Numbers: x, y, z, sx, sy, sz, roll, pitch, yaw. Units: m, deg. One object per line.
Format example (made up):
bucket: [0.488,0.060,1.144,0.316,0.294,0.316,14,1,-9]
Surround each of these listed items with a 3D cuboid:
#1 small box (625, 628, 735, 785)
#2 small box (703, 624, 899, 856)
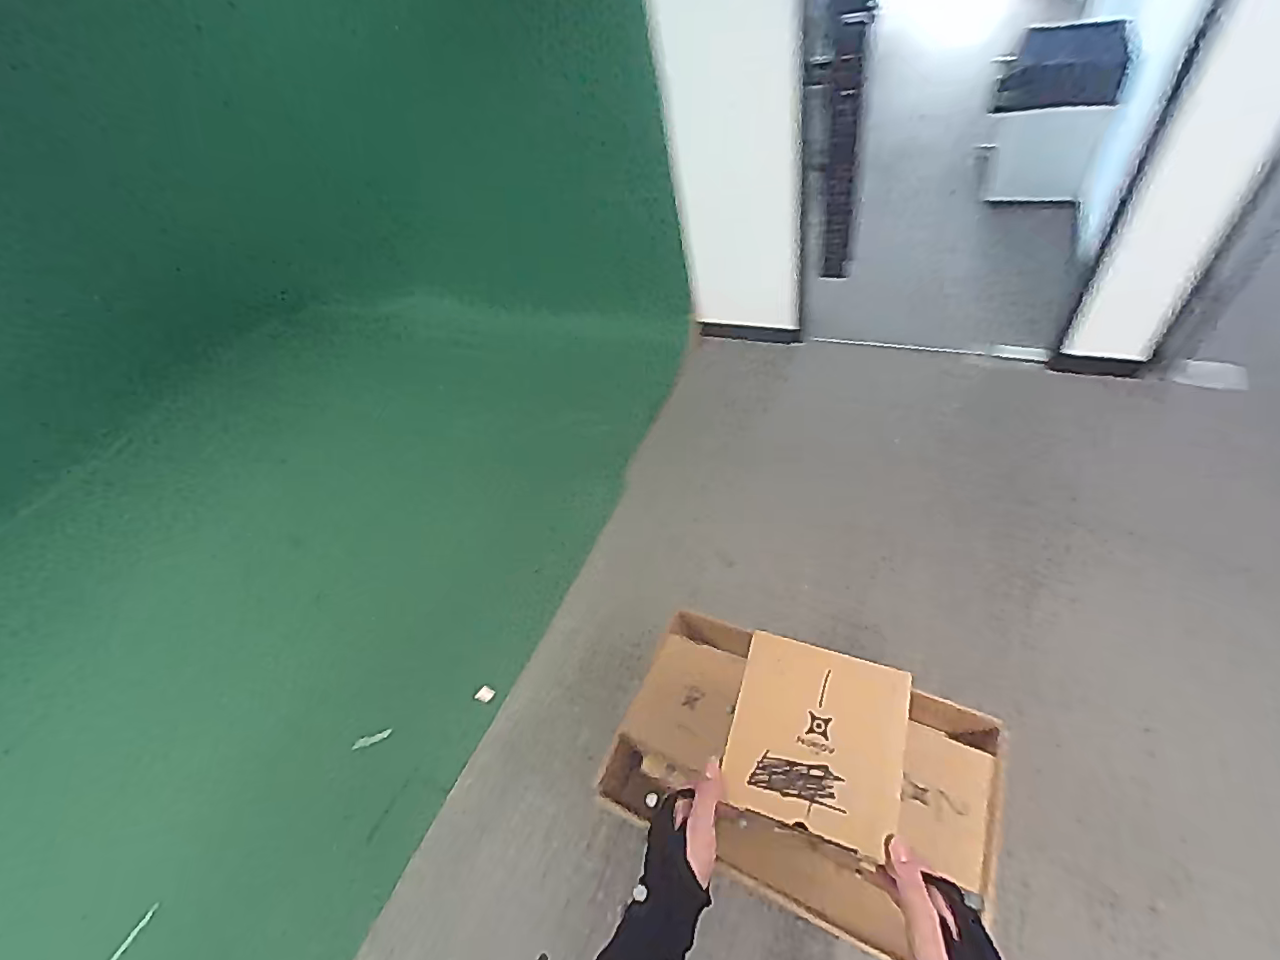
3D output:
small box: [0.100,0.386,0.904,0.168,0.176,0.179,17,57,28]
small box: [0.175,0.289,0.606,0.168,0.176,0.179,12,60,16]
